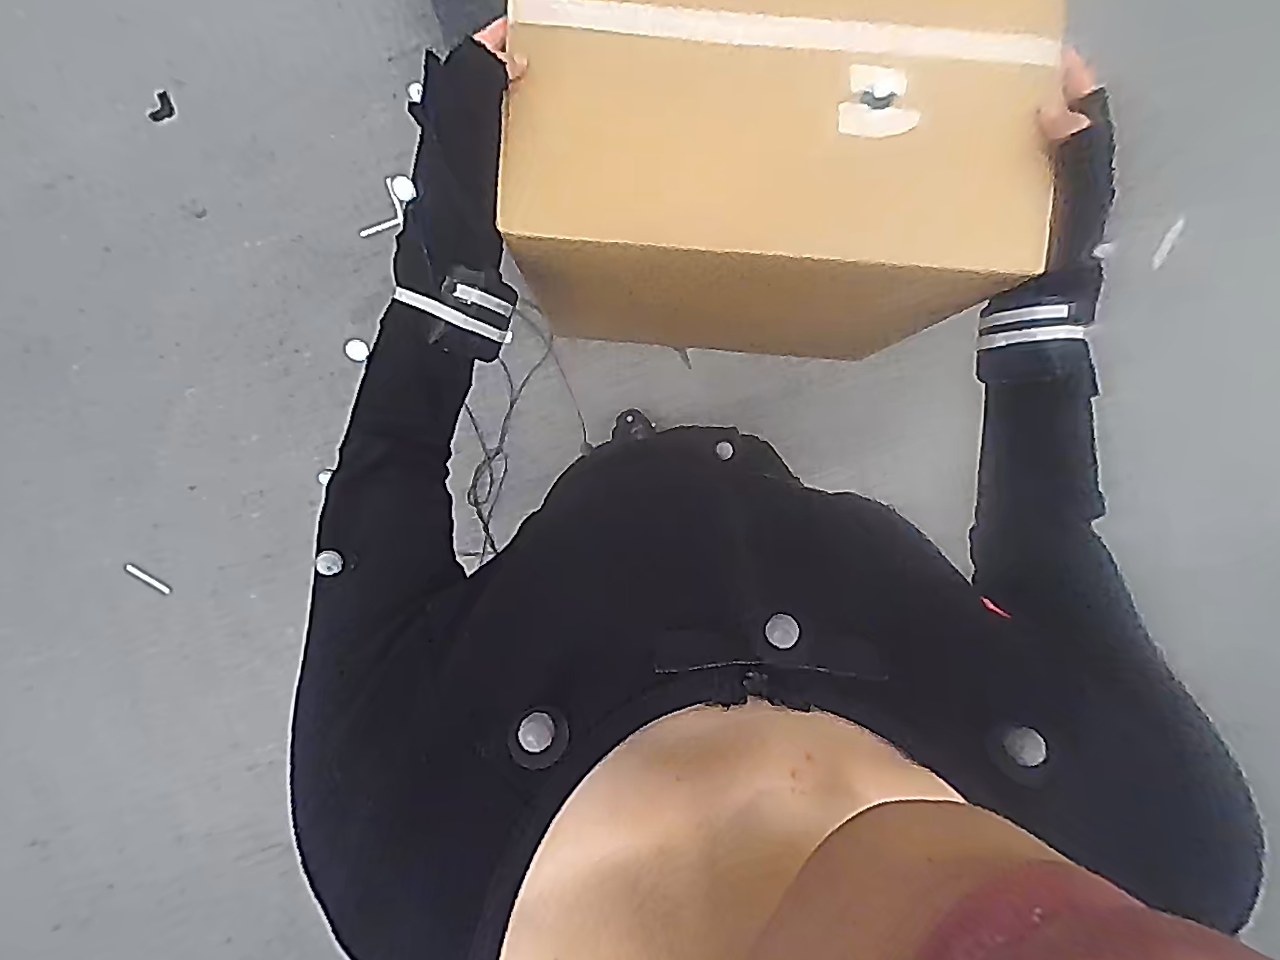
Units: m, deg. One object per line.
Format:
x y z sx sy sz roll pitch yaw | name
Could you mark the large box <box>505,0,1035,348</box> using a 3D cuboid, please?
0.095 -0.332 0.559 0.408 0.320 0.320 3 91 -2 | large box
